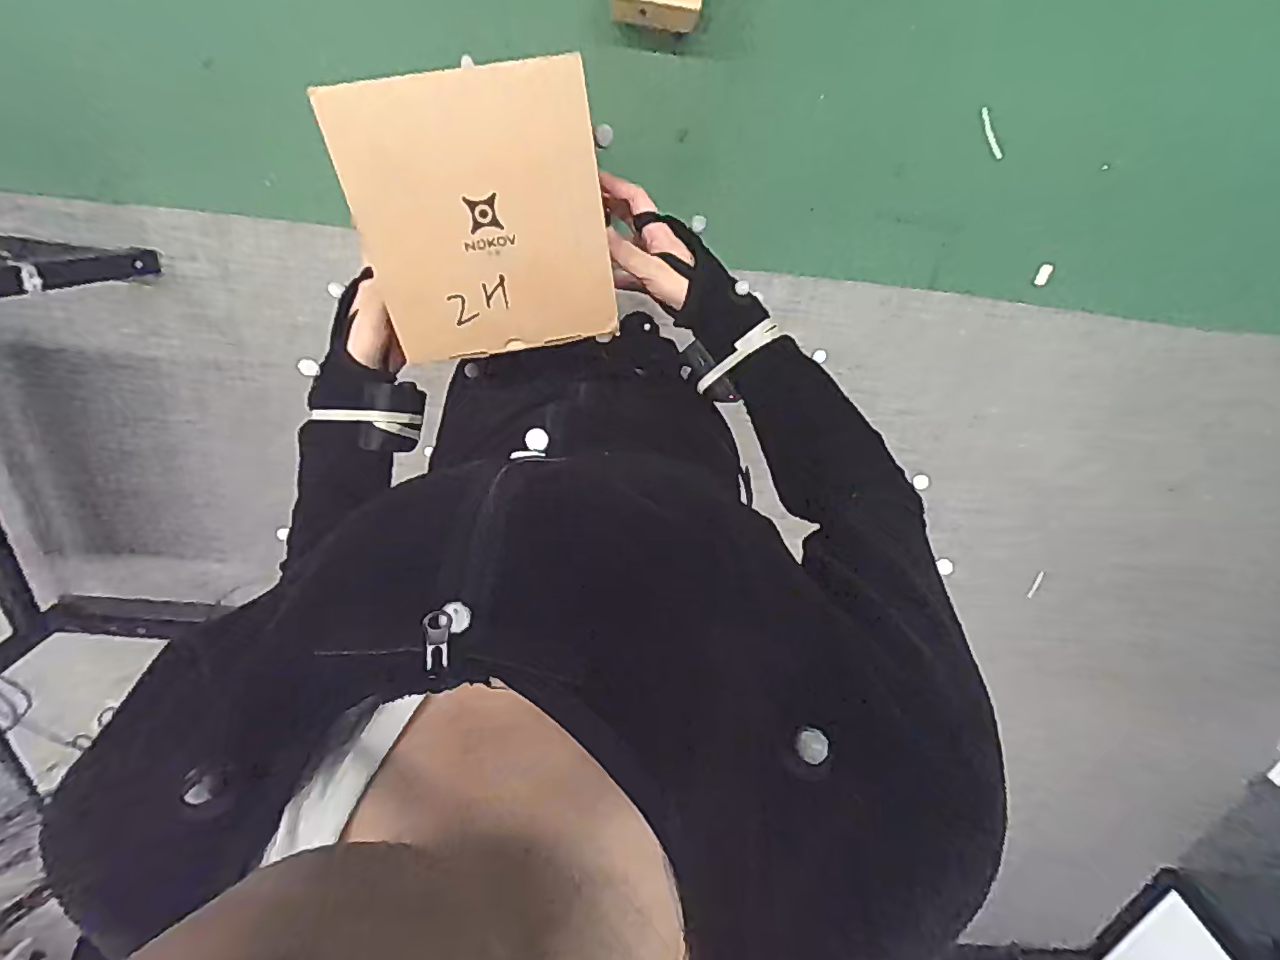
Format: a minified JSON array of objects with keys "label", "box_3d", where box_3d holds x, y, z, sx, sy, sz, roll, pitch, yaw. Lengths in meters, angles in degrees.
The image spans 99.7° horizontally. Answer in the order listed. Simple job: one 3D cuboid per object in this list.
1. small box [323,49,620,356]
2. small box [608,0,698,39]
[{"label":"small box","box_3d":[-0.116,-0.221,0.440,0.168,0.176,0.179,-10,123,-4]},{"label":"small box","box_3d":[0.032,-0.961,1.009,0.168,0.176,0.179,5,116,-5]}]
